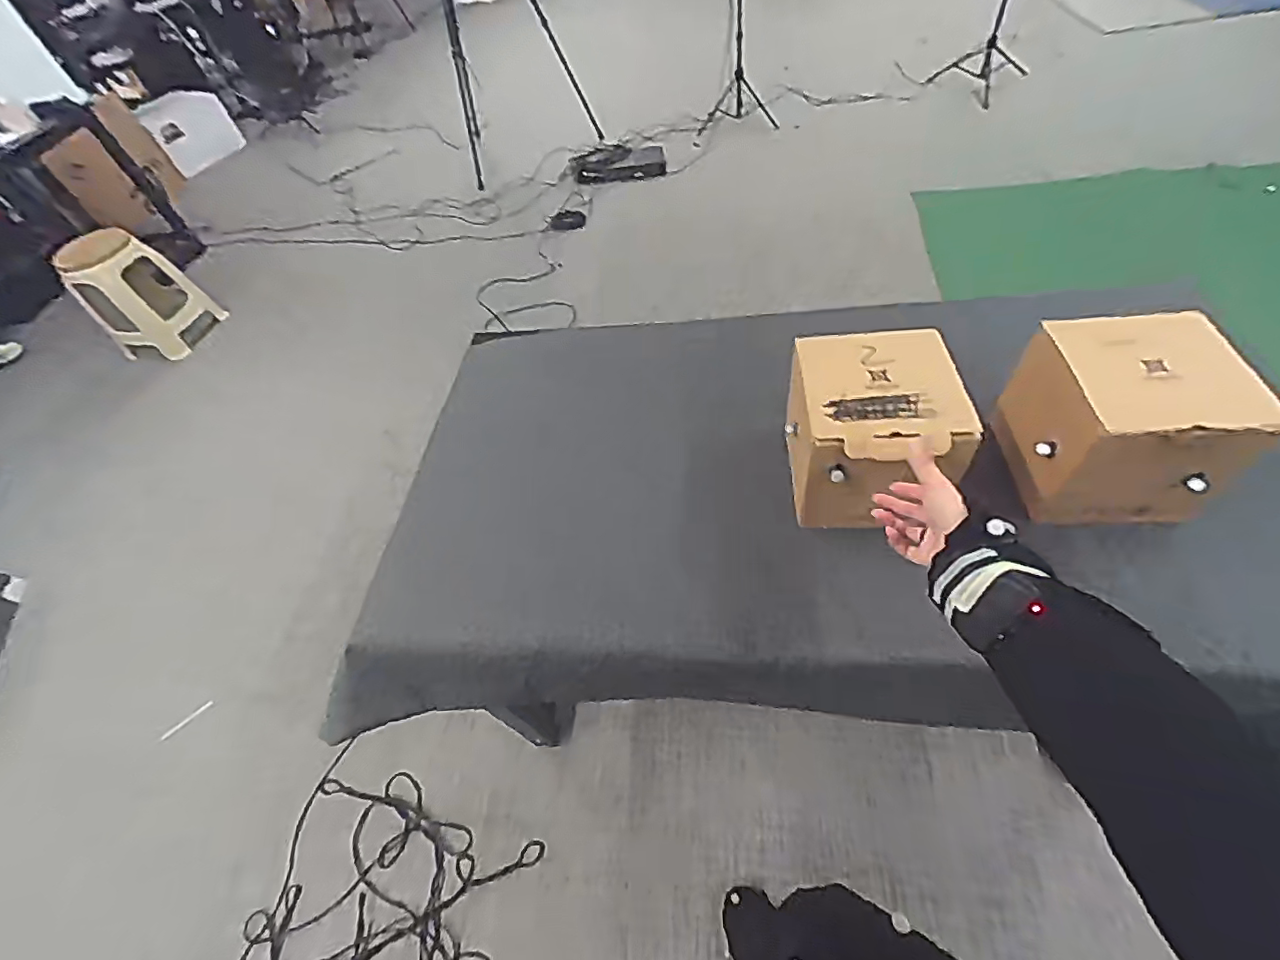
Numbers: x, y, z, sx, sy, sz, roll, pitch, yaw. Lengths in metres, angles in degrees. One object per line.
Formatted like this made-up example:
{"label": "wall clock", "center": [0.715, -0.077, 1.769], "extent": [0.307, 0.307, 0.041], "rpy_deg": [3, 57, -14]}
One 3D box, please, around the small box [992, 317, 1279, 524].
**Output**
{"label": "small box", "center": [0.545, -0.061, 0.622], "extent": [0.168, 0.176, 0.179], "rpy_deg": [-1, 52, 8]}
